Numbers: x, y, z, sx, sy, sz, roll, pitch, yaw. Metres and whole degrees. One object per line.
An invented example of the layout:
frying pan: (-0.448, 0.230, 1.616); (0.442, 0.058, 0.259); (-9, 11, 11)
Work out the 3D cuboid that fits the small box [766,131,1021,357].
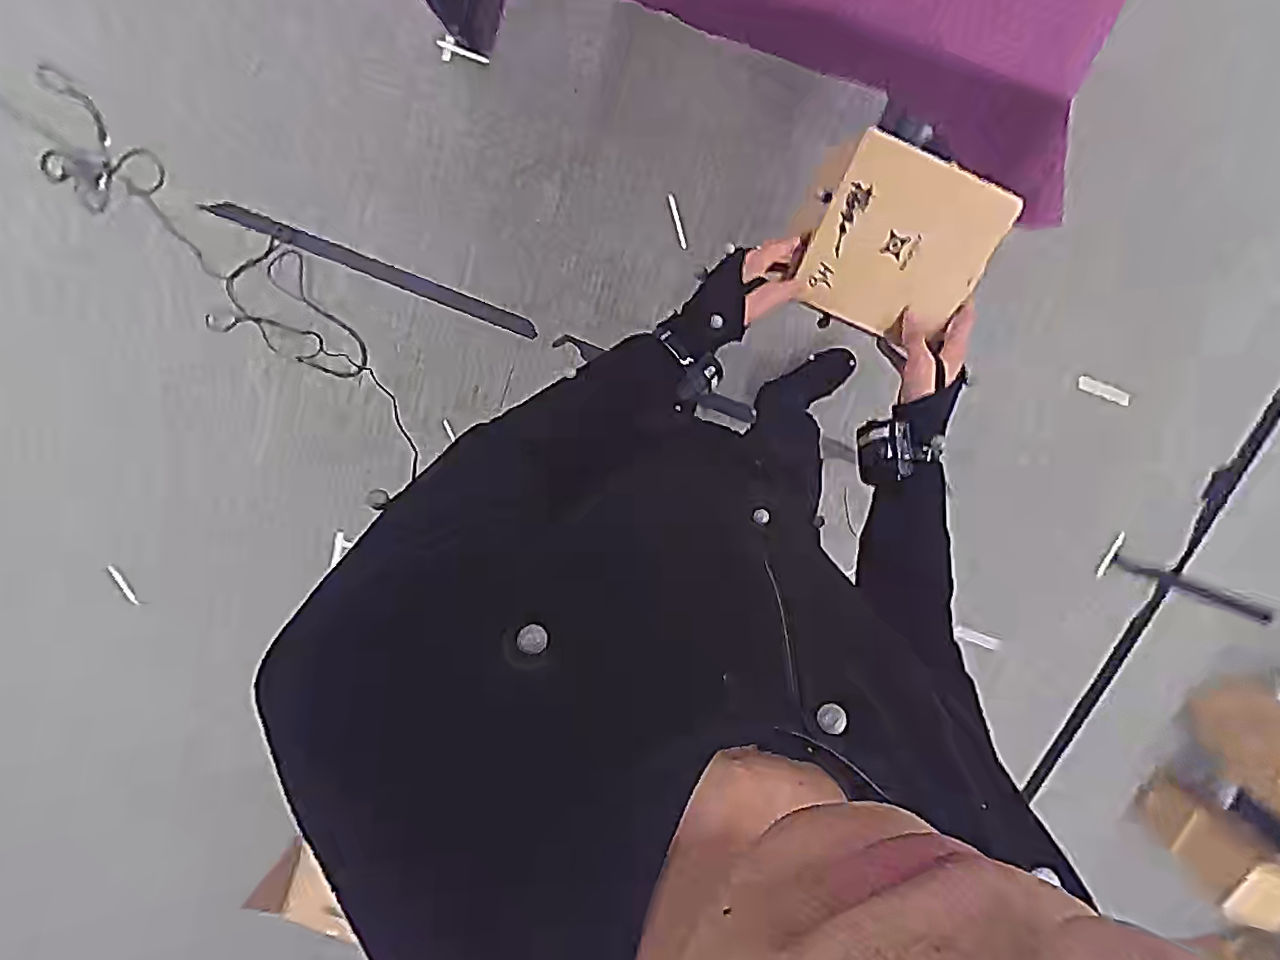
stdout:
small box: (0.269, -0.264, 0.623); (0.179, 0.176, 0.168); (22, 111, -7)
